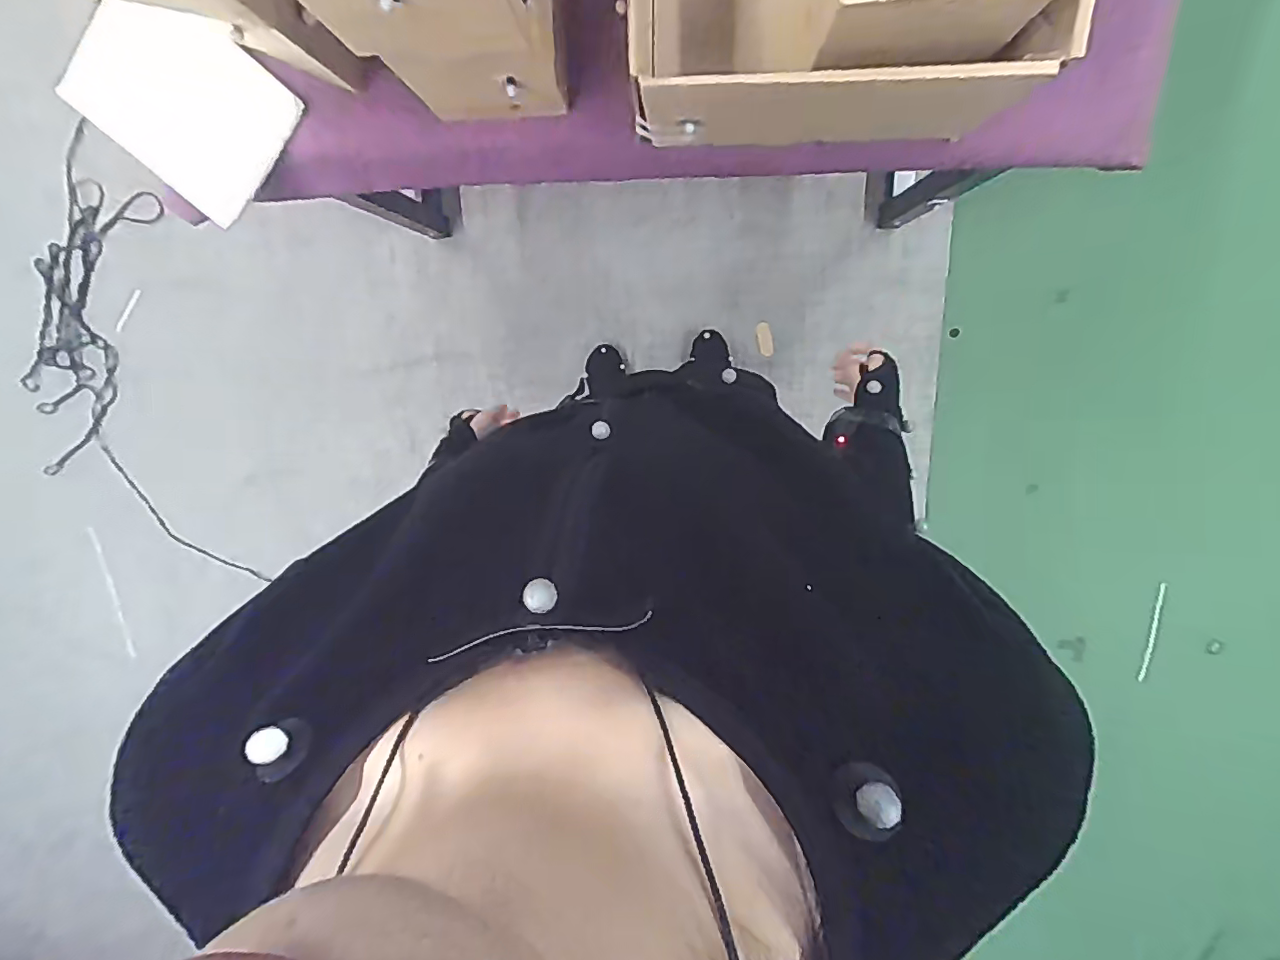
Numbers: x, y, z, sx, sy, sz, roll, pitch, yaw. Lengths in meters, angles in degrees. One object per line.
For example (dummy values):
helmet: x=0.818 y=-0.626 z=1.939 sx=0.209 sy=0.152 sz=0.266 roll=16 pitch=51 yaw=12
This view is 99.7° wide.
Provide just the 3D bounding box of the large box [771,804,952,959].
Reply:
large box: x=0.651 y=1.259 z=1.637 sx=0.408 sy=0.320 sz=0.320 roll=-15 pitch=103 yaw=6

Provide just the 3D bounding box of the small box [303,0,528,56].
small box: x=-0.190 y=-0.467 z=0.422 sx=0.179 sy=0.176 sz=0.168 roll=1 pitch=103 yaw=4
